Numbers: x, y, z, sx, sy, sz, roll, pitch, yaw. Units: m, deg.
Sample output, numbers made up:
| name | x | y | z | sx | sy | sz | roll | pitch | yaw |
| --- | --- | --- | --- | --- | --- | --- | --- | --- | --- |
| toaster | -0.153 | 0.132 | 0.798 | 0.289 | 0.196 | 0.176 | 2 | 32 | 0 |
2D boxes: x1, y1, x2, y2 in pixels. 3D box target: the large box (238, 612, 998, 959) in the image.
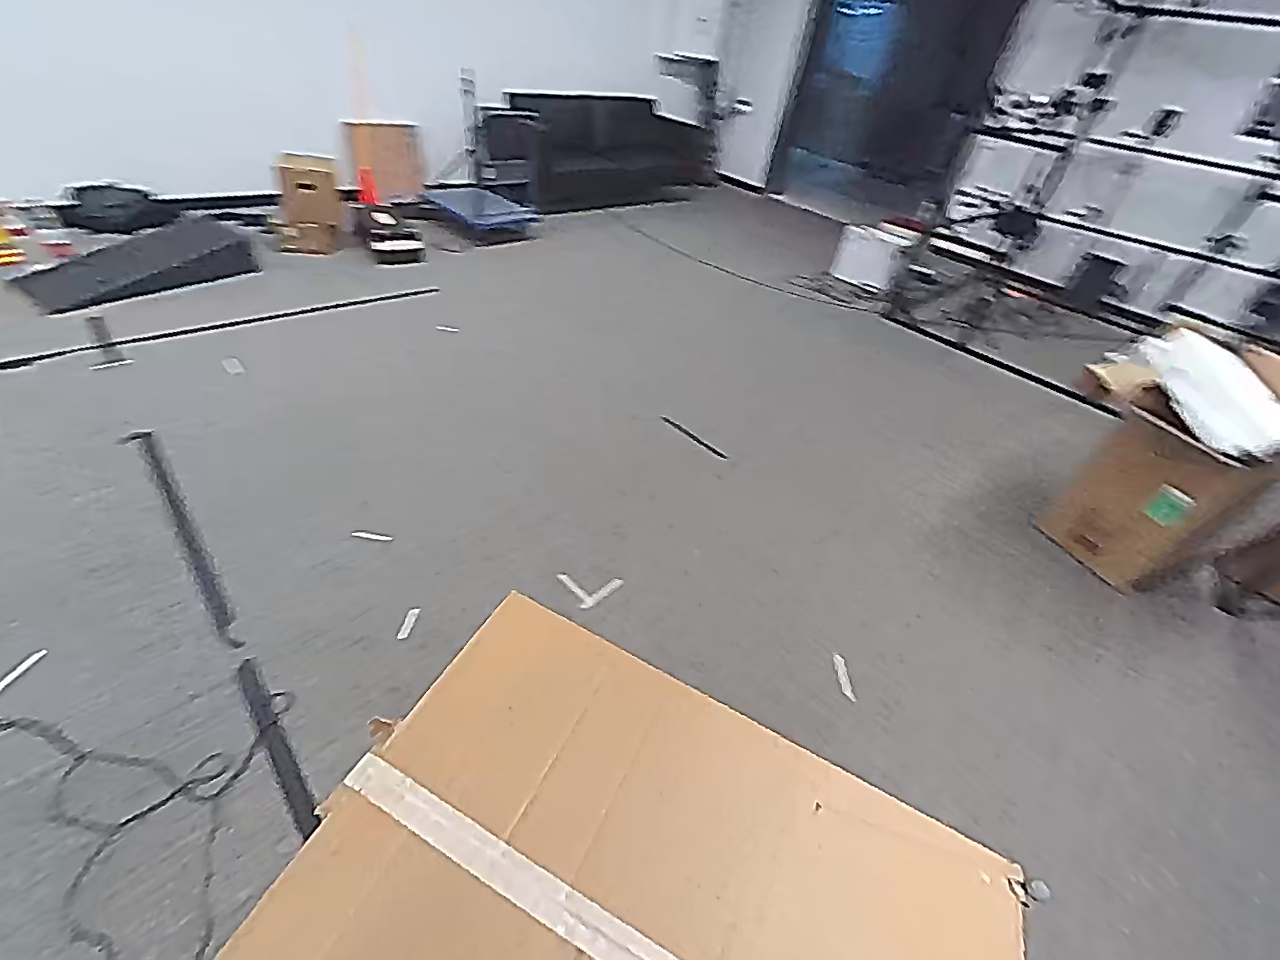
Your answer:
| name | x | y | z | sx | sy | sz | roll | pitch | yaw |
| --- | --- | --- | --- | --- | --- | --- | --- | --- | --- |
| large box | -0.021 | 0.377 | 0.415 | 0.408 | 0.320 | 0.320 | 24 | 48 | 12 |
